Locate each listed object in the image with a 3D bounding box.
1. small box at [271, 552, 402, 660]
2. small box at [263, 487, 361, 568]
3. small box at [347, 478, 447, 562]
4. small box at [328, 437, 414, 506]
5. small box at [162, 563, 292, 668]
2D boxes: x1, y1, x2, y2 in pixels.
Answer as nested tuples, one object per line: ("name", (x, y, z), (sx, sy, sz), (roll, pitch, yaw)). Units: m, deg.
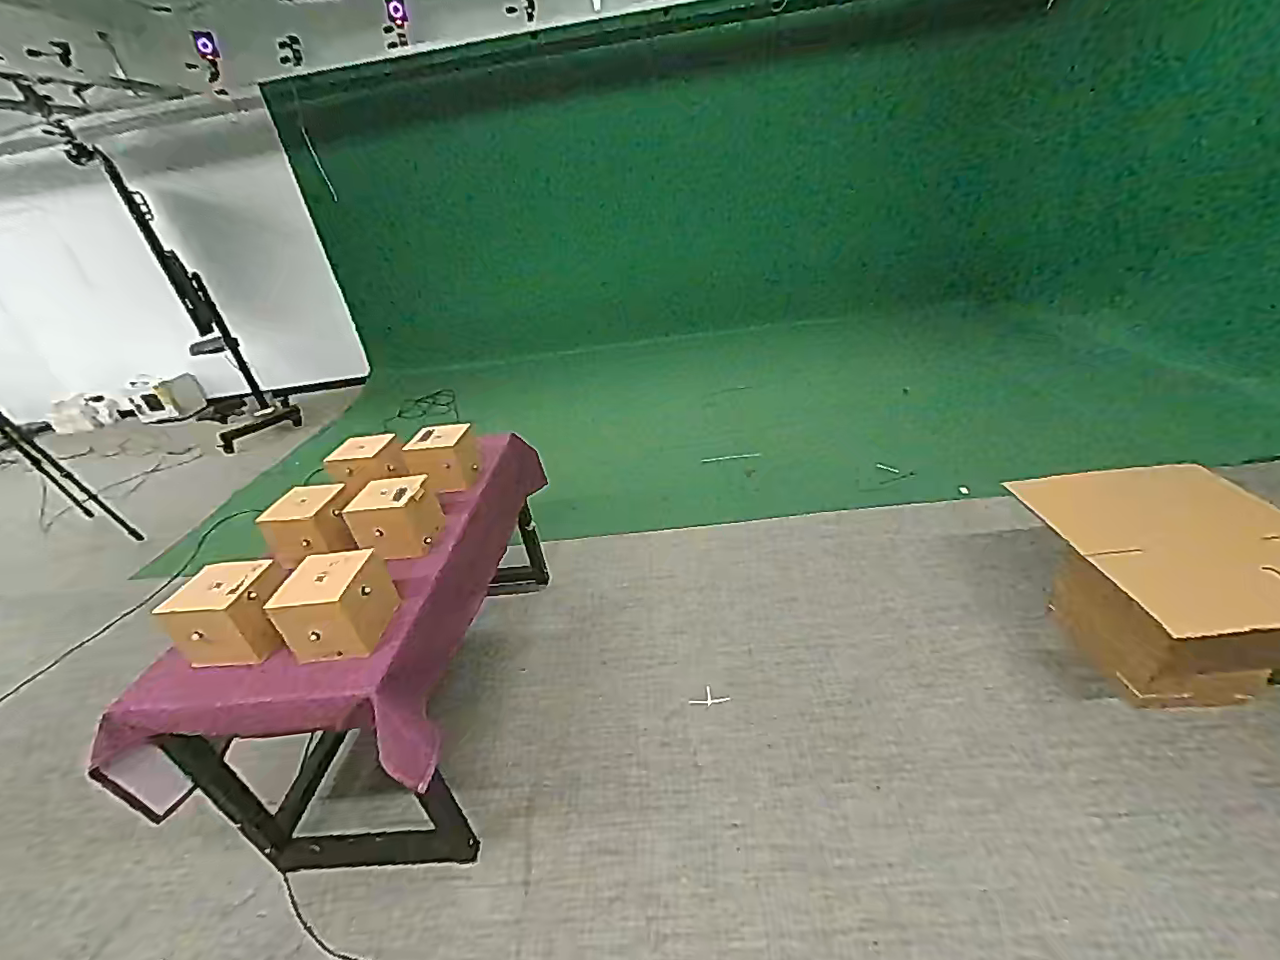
("small box", (-0.666, 0.287, 1.217), (0.168, 0.176, 0.179), (-7, 30, 6))
("small box", (-0.915, 0.141, 1.548), (0.168, 0.176, 0.179), (-4, 30, 8))
("small box", (-0.669, 0.114, 1.516), (0.179, 0.176, 0.168), (-7, 30, 8))
("small box", (-0.898, -0.026, 1.830), (0.179, 0.176, 0.168), (-6, 31, 9))
("small box", (-0.921, 0.315, 1.250), (0.179, 0.176, 0.168), (-6, 30, 7))
